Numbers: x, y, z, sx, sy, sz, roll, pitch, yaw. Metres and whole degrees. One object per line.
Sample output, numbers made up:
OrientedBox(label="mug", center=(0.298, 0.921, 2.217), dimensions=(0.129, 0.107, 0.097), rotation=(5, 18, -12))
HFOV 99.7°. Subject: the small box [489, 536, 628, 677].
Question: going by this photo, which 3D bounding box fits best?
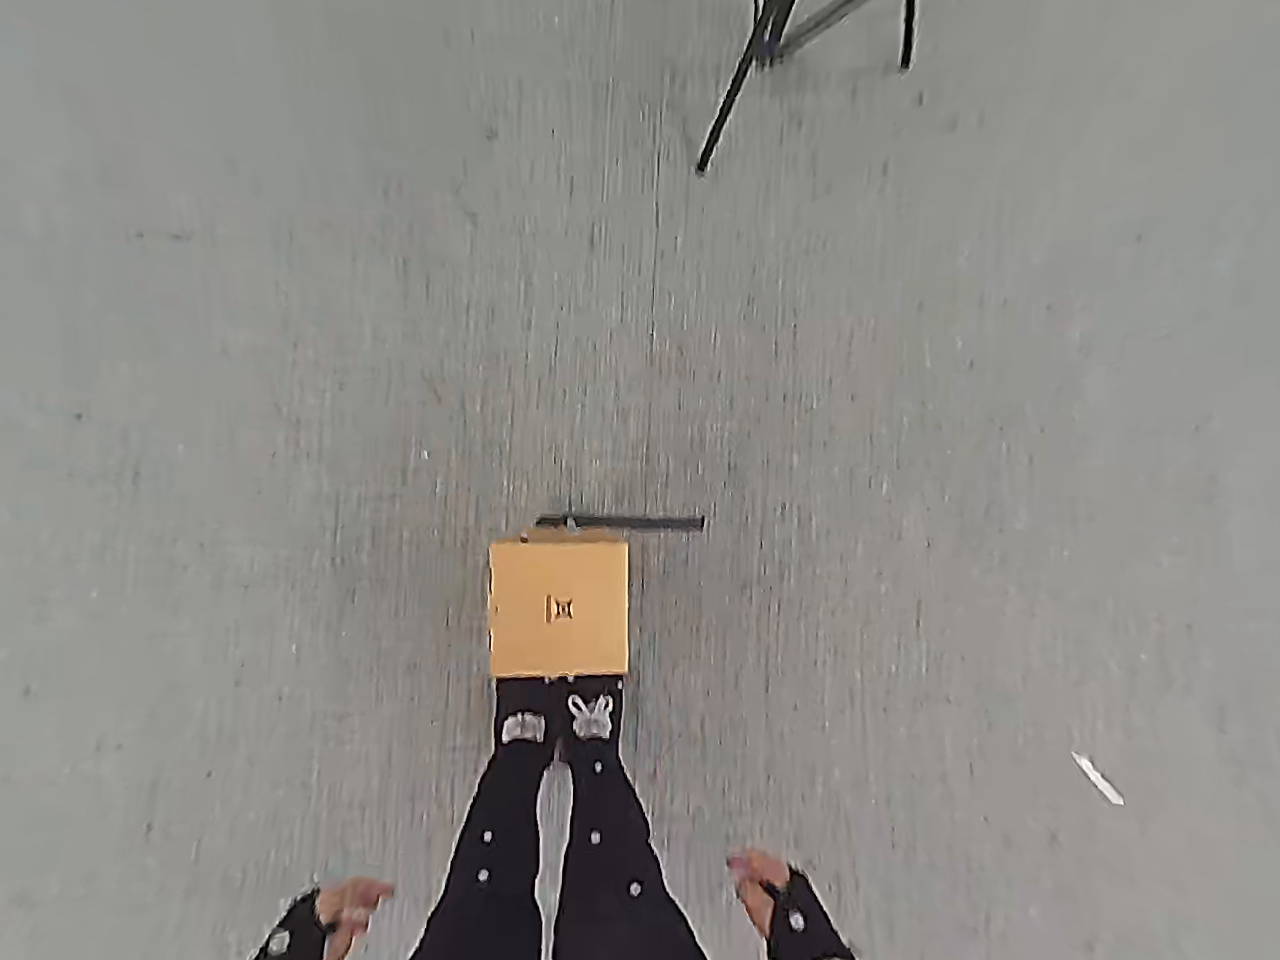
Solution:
OrientedBox(label="small box", center=(-0.112, 0.167, 0.764), dimensions=(0.179, 0.176, 0.168), rotation=(0, 87, -6))
